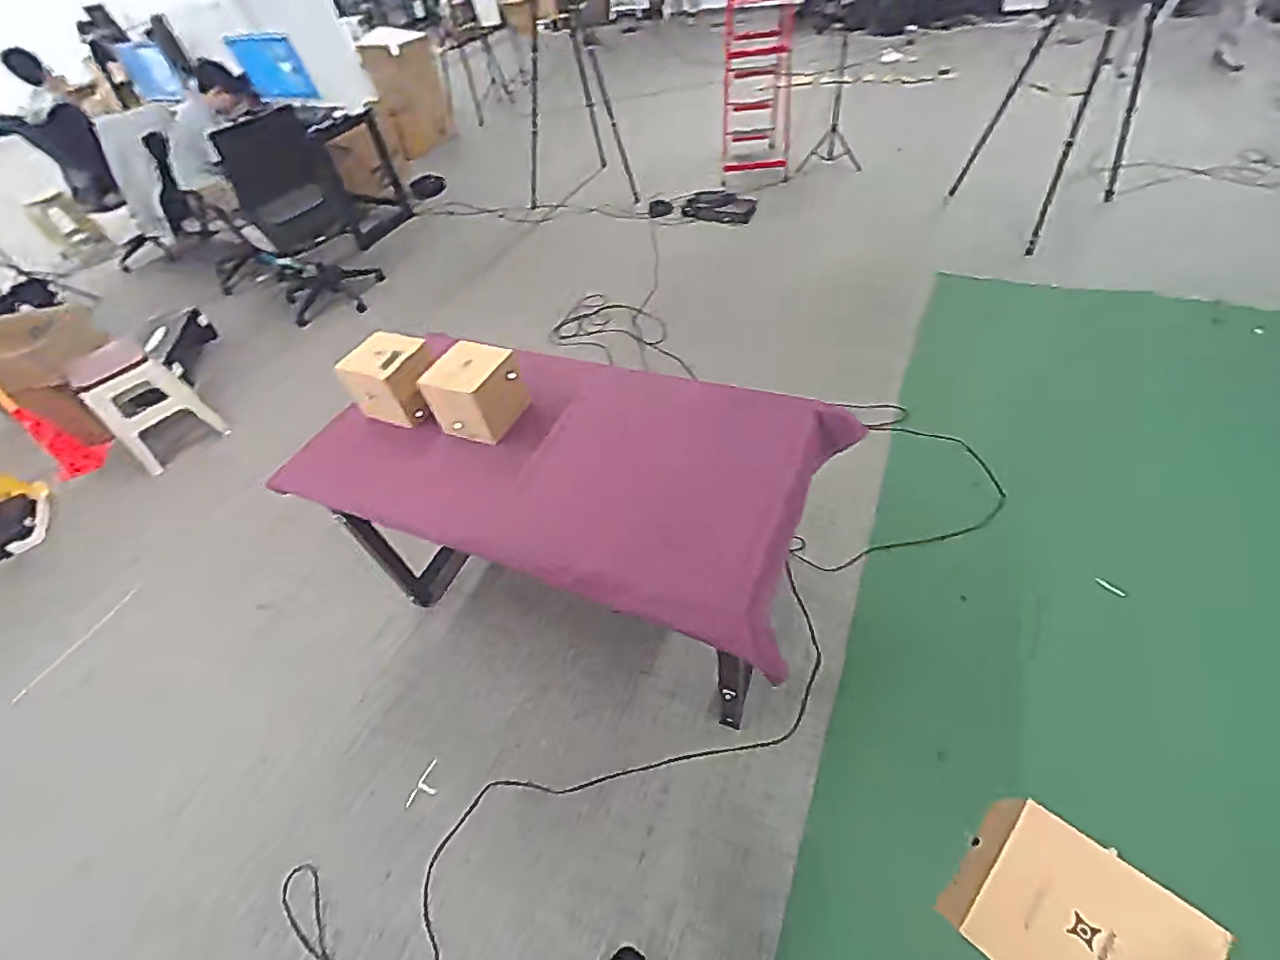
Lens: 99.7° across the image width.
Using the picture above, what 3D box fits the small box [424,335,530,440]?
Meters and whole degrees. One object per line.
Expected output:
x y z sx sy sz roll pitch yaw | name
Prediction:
-0.393 -0.229 1.344 0.168 0.176 0.179 16 54 21 | small box

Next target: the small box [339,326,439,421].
-0.632 -0.276 1.421 0.179 0.176 0.168 15 53 21 | small box

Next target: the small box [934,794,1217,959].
0.471 0.490 0.617 0.179 0.176 0.168 33 75 32 | small box
